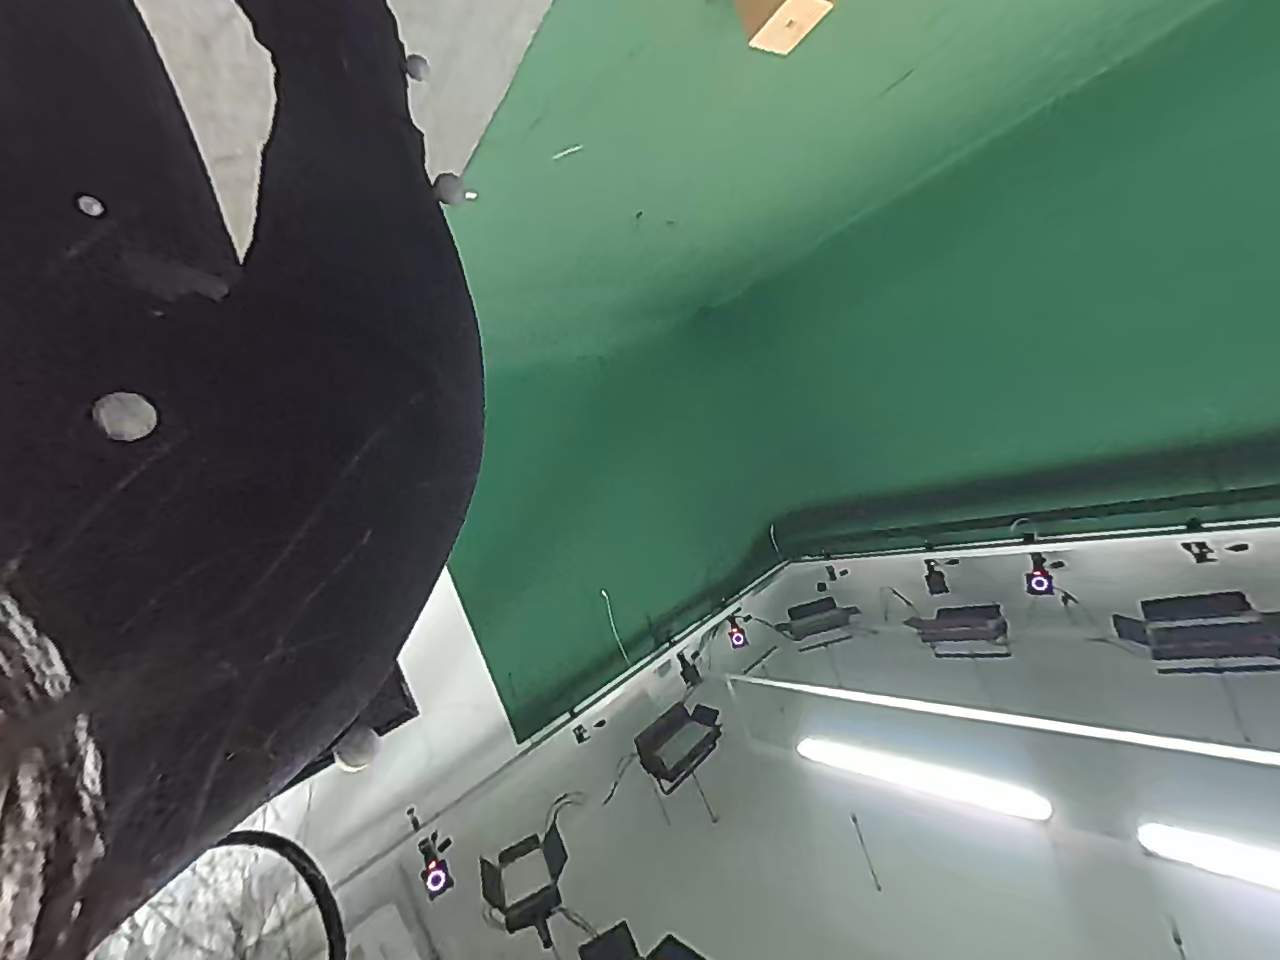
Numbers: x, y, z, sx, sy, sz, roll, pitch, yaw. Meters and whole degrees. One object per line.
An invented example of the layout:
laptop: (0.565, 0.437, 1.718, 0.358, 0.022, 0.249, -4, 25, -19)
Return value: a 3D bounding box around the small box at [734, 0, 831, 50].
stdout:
small box: (0.355, -1.267, 1.392, 0.179, 0.176, 0.168, -23, -175, -37)
